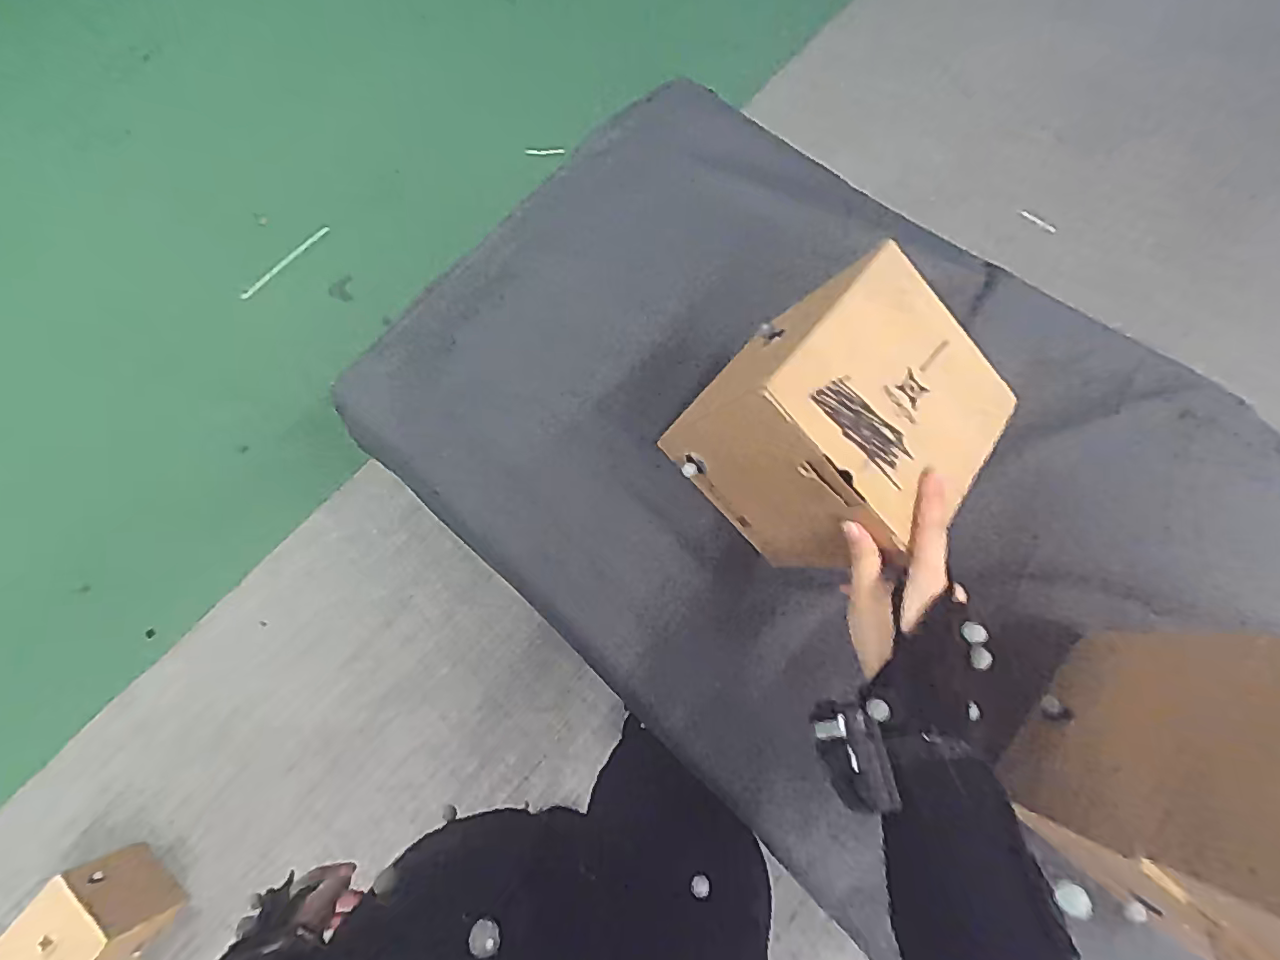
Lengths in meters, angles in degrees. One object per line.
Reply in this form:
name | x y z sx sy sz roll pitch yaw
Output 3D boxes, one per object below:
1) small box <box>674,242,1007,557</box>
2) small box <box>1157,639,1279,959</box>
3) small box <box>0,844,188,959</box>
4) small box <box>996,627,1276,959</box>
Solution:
small box | 0.152 -0.050 0.455 0.168 0.176 0.179 46 67 -11
small box | 0.405 0.188 0.242 0.168 0.176 0.179 42 80 13
small box | -1.067 0.862 1.067 0.179 0.176 0.168 36 80 12
small box | 0.411 0.231 0.400 0.168 0.176 0.179 39 81 13
